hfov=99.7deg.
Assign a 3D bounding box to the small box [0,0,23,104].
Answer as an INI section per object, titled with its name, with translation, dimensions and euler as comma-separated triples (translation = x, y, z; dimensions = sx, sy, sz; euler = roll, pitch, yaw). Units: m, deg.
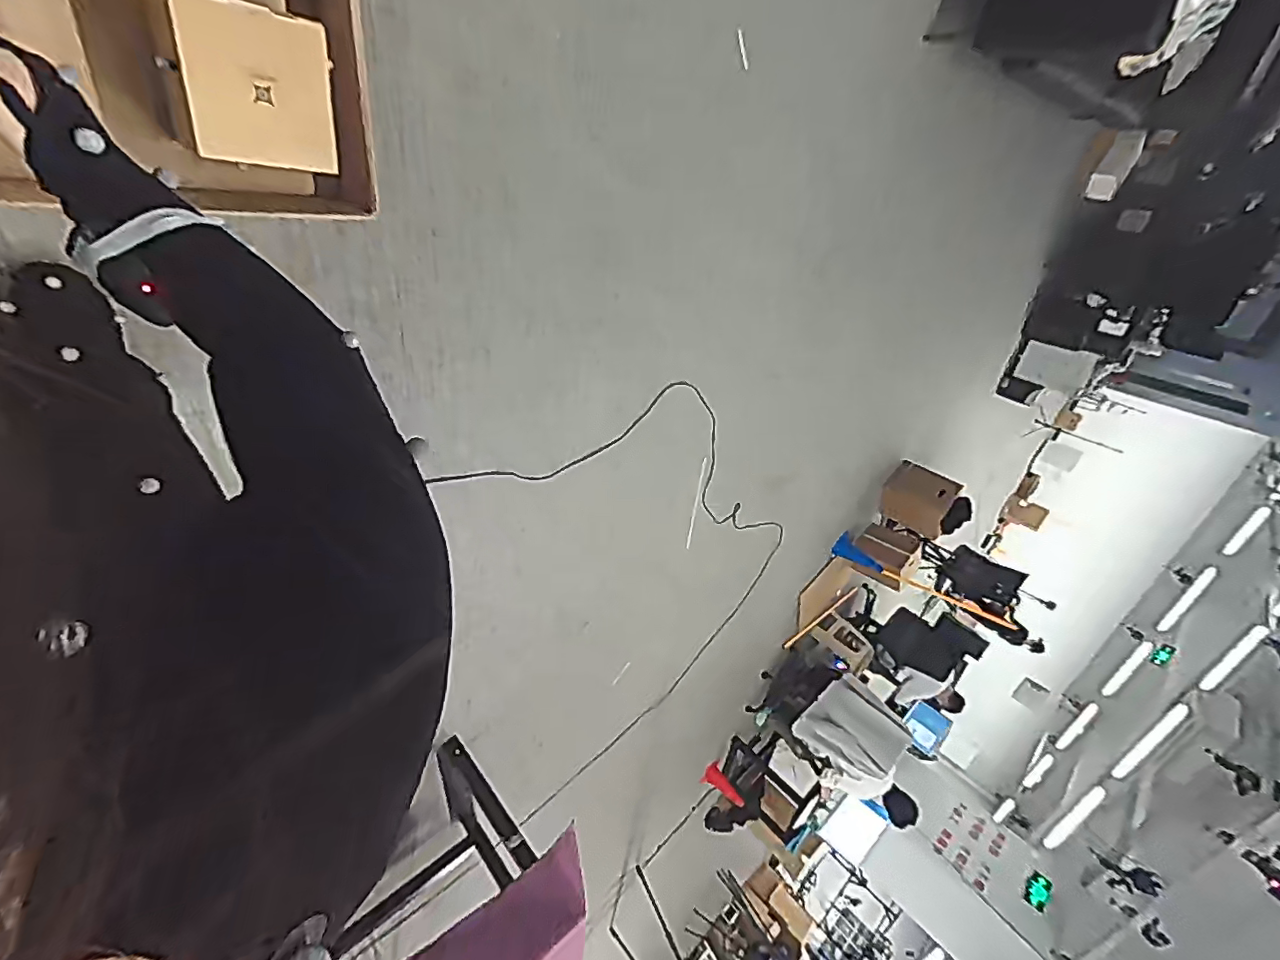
[small box]
translation = -0.560, -0.366, 0.354
dimensions = 0.179, 0.176, 0.168
euler = -11, 127, -41
